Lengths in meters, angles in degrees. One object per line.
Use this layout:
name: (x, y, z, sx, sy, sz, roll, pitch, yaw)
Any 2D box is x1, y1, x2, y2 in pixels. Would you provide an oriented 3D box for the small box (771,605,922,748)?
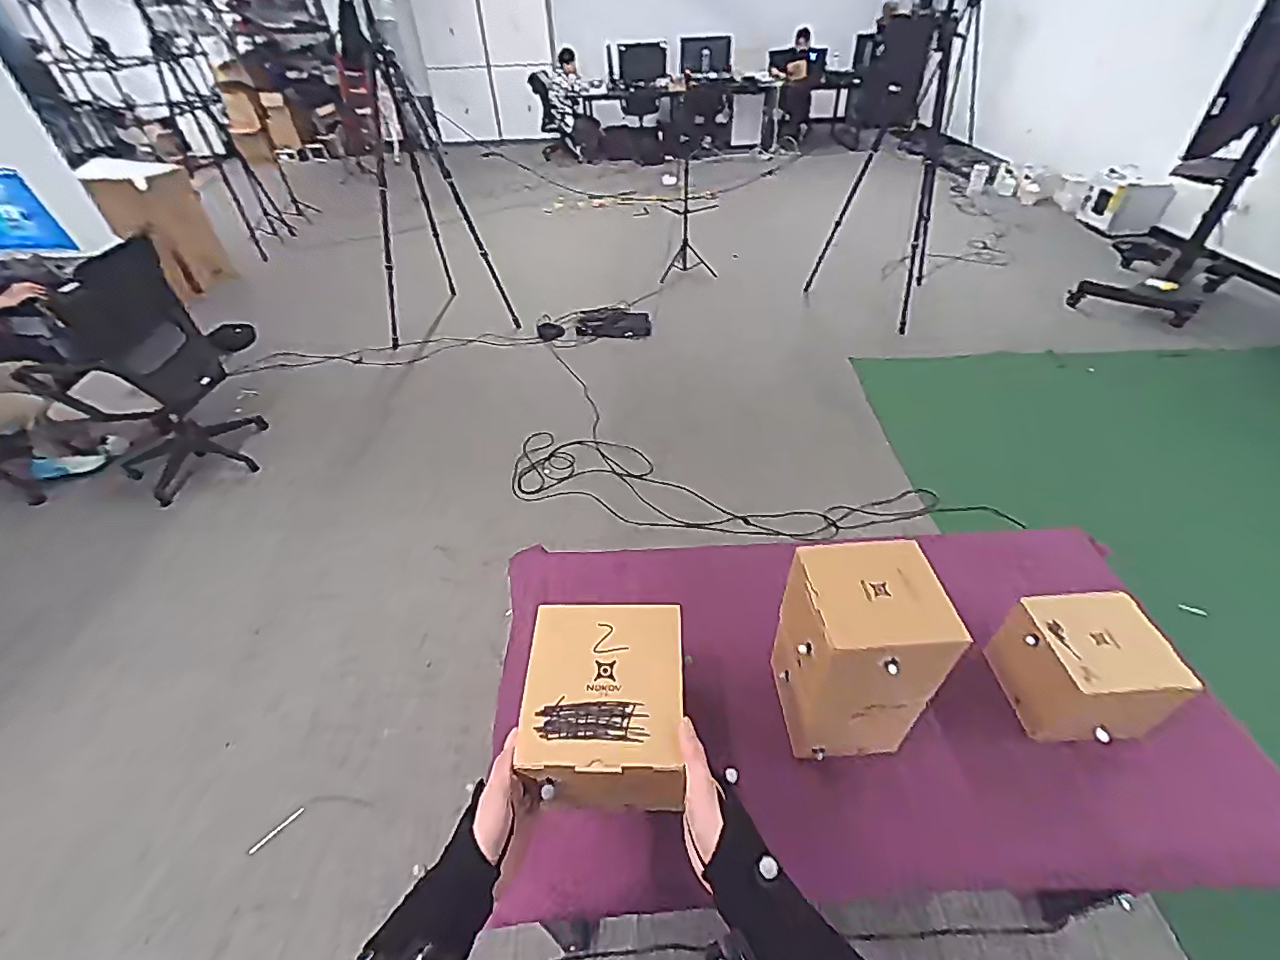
small box: (0.320, 0.318, 0.879, 0.168, 0.176, 0.179, -3, 42, -1)

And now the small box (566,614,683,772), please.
small box: (-0.025, 0.341, 0.869, 0.168, 0.176, 0.179, -5, 42, -2)

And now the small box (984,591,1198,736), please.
small box: (0.711, 0.299, 0.880, 0.179, 0.176, 0.168, -3, 42, 0)

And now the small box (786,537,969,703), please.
small box: (0.315, 0.200, 0.767, 0.179, 0.176, 0.168, -3, 43, -1)
